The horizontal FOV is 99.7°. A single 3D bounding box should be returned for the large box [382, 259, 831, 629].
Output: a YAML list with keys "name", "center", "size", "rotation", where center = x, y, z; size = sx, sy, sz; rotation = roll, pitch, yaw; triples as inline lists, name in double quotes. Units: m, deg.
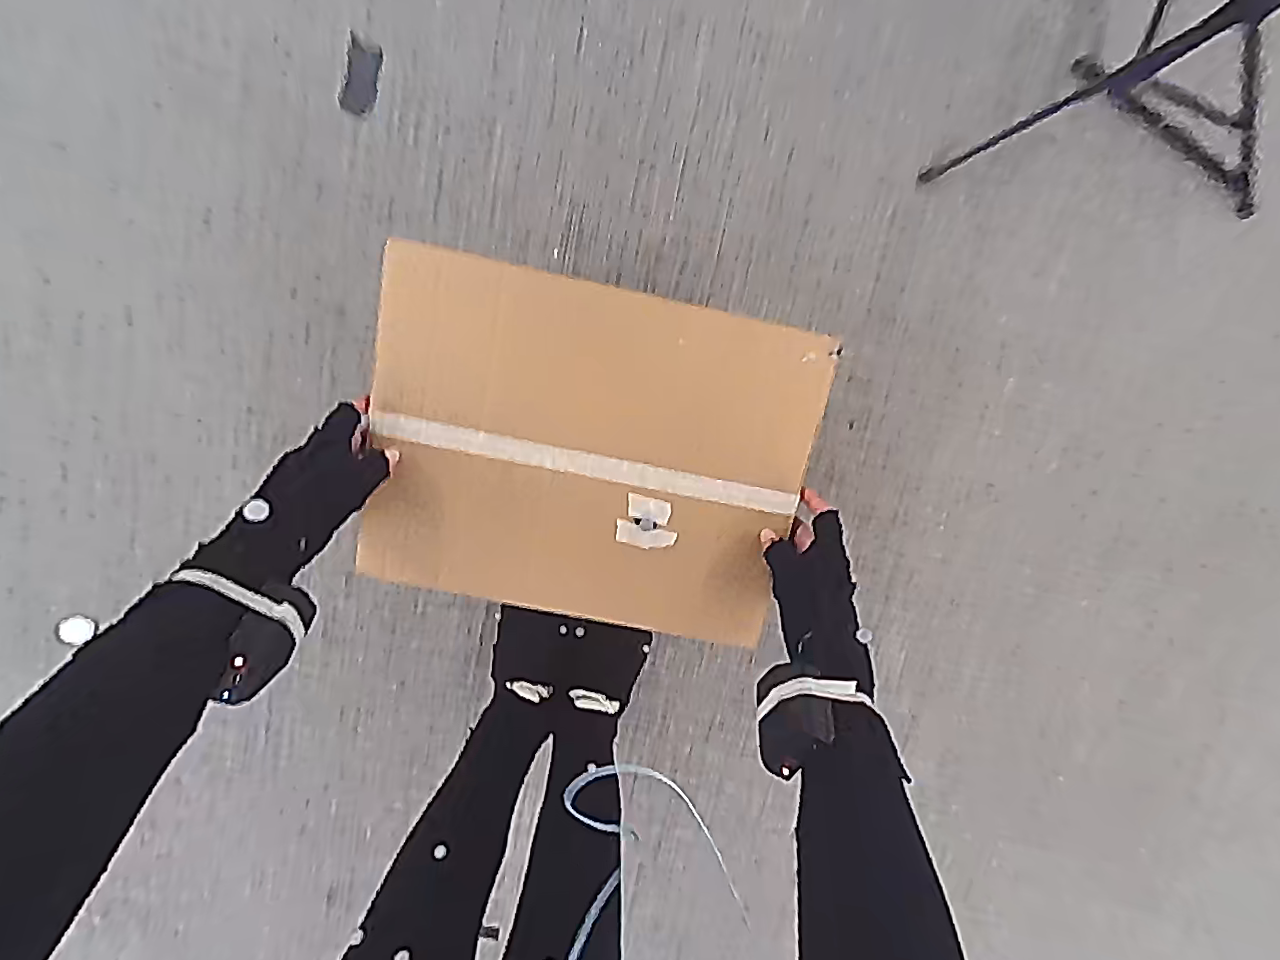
- name: "large box"
  center: [-0.046, -0.055, 0.672]
  size: [0.408, 0.320, 0.320]
  rotation: [11, 104, -3]
